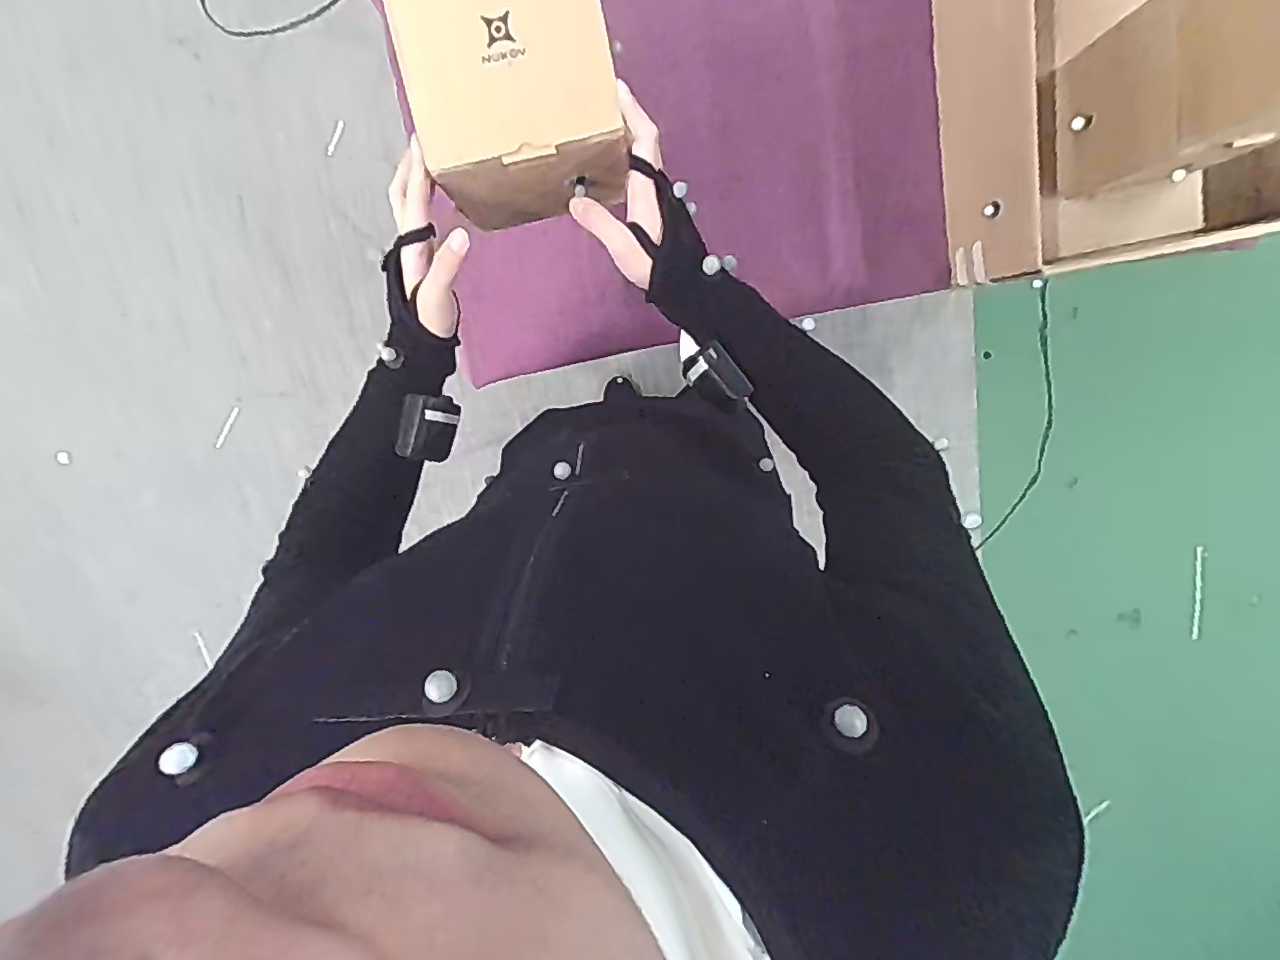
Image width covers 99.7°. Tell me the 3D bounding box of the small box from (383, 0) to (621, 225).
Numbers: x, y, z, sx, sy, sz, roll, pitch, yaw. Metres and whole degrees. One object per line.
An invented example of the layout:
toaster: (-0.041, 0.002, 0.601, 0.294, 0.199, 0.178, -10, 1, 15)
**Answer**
small box: (-0.112, -0.356, 0.503, 0.168, 0.176, 0.179, -12, 100, -1)

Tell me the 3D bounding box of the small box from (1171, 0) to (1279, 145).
small box: (0.652, -0.442, 0.503, 0.168, 0.176, 0.179, -11, 100, 4)
